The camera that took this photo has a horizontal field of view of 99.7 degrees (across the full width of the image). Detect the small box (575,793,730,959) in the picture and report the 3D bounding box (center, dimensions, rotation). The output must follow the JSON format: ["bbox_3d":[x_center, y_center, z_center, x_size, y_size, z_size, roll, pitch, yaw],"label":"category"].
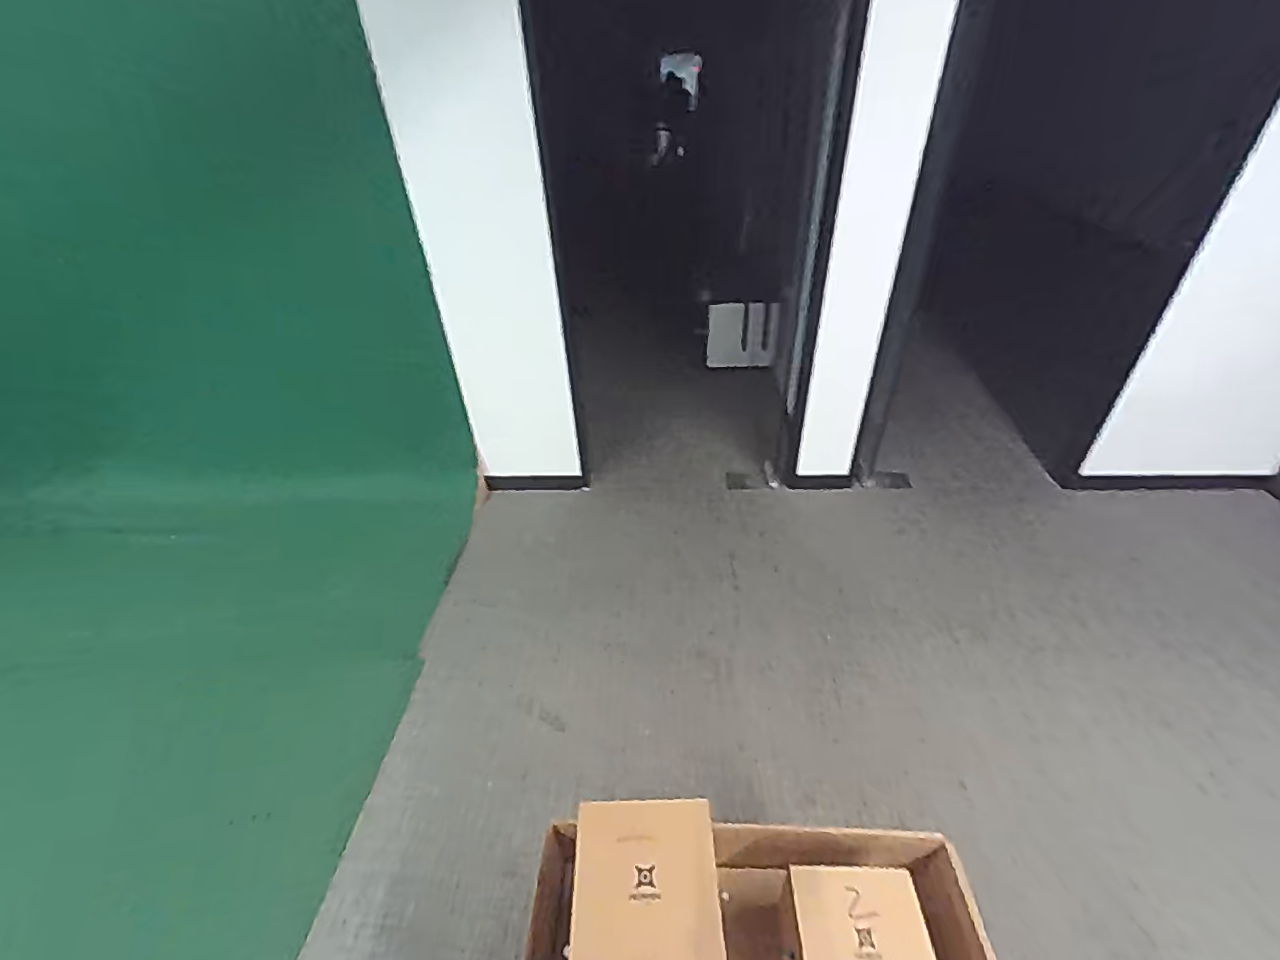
[{"bbox_3d":[0.017,0.516,0.666,0.168,0.176,0.179,-2,37,1],"label":"small box"}]
